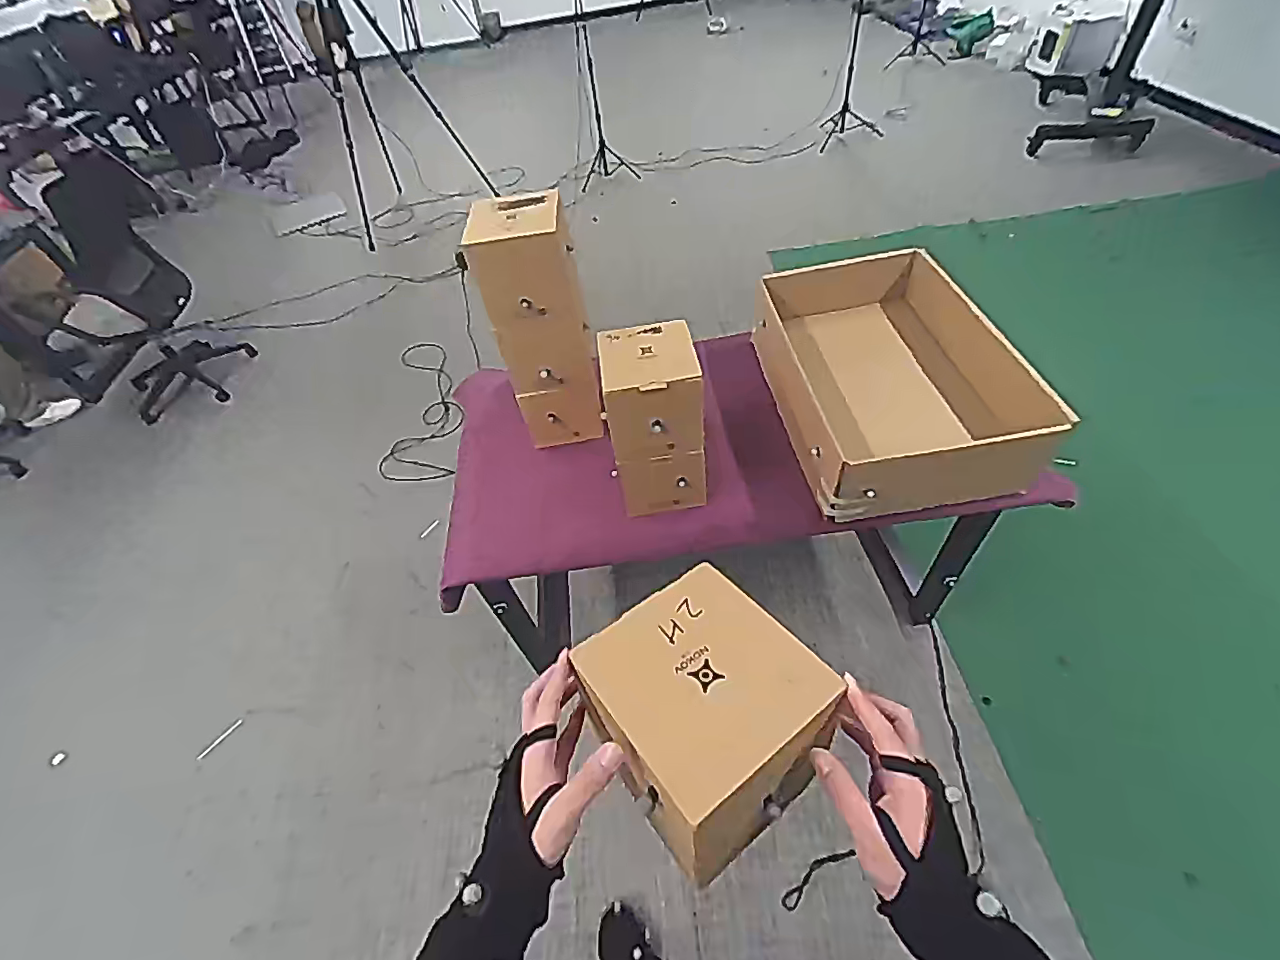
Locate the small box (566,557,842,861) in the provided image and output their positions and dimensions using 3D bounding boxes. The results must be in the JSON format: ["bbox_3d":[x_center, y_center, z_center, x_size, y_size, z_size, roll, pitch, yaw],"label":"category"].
[{"bbox_3d":[0.055,0.213,0.504,0.168,0.176,0.179,-27,44,-23],"label":"small box"}]

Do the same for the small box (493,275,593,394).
[{"bbox_3d":[-0.196,-0.306,1.144,0.168,0.176,0.179,-7,50,3],"label":"small box"}]

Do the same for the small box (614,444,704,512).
[{"bbox_3d":[0.037,-0.049,1.106,0.168,0.176,0.179,-8,48,1],"label":"small box"}]

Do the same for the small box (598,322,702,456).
[{"bbox_3d":[0.019,-0.158,0.986,0.168,0.176,0.179,-8,49,0],"label":"small box"}]

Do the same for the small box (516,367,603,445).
[{"bbox_3d":[-0.184,-0.197,1.267,0.168,0.176,0.179,-10,48,0],"label":"small box"}]
